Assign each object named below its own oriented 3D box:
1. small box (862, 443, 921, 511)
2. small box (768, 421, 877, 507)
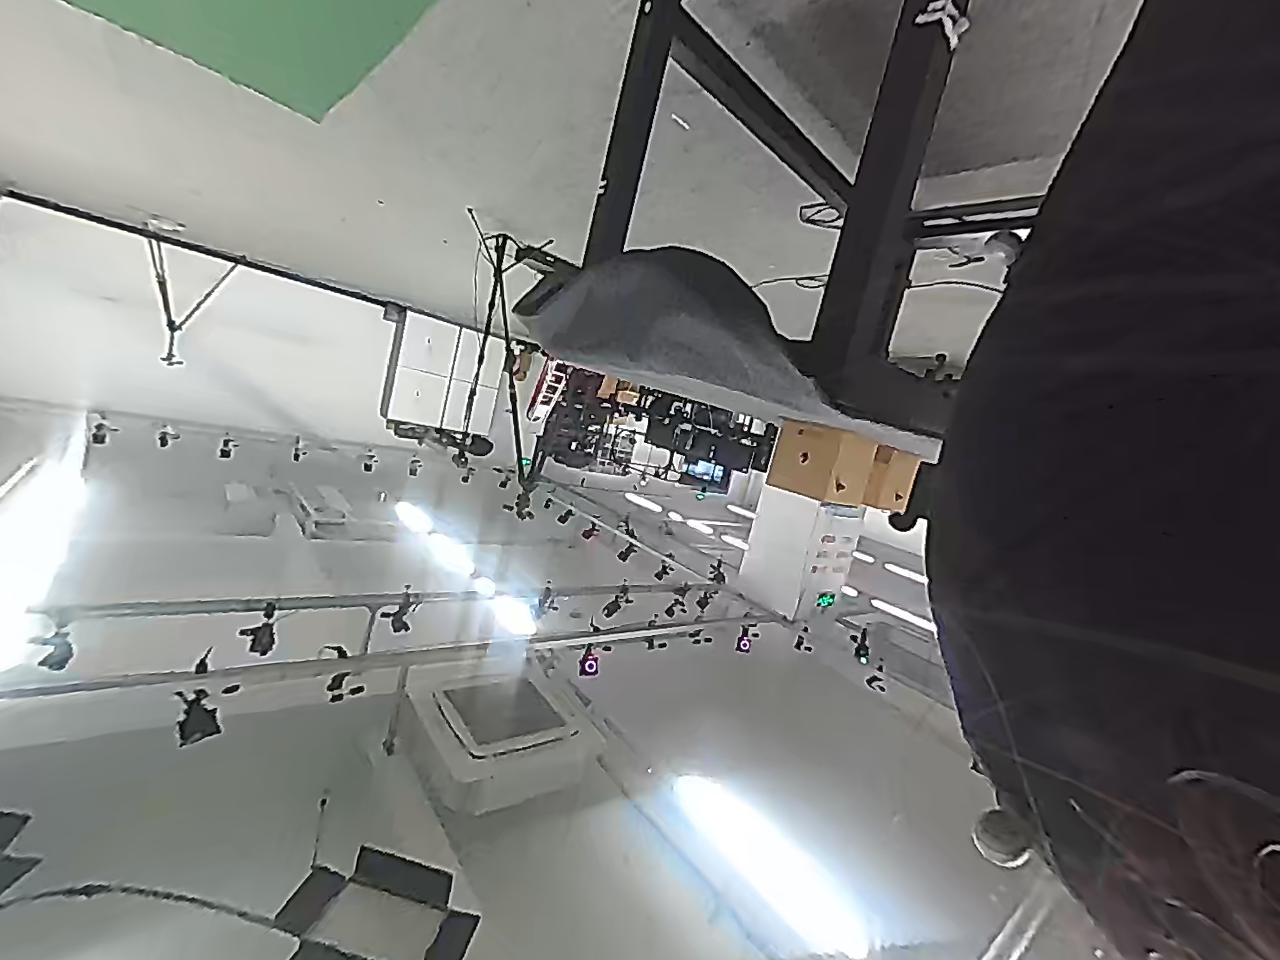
[{"bbox_3d":[0.651,-0.018,1.509,0.179,0.176,0.168,7,-171,-41],"label":"small box"},{"bbox_3d":[0.445,-0.042,1.312,0.179,0.176,0.168,8,-171,-41],"label":"small box"}]
